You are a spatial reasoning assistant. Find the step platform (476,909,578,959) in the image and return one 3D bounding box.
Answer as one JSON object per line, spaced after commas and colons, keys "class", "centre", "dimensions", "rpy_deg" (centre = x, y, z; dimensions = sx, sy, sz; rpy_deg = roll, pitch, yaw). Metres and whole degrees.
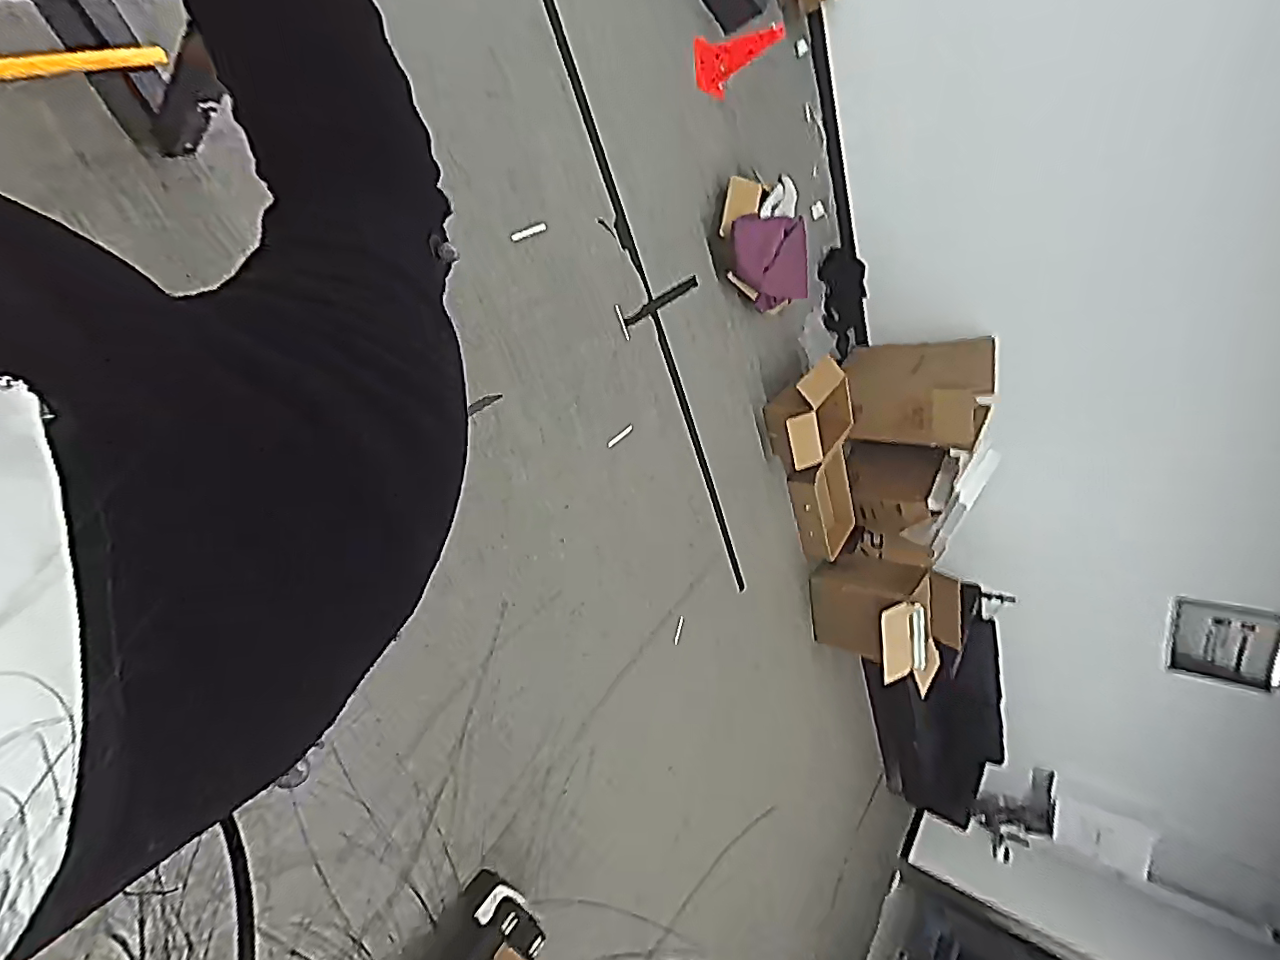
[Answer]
{"class": "step platform", "centre": [-0.474, 1.637, 1.526], "dimensions": [0.684, 0.204, 0.286], "rpy_deg": [-45, 126, -34]}
